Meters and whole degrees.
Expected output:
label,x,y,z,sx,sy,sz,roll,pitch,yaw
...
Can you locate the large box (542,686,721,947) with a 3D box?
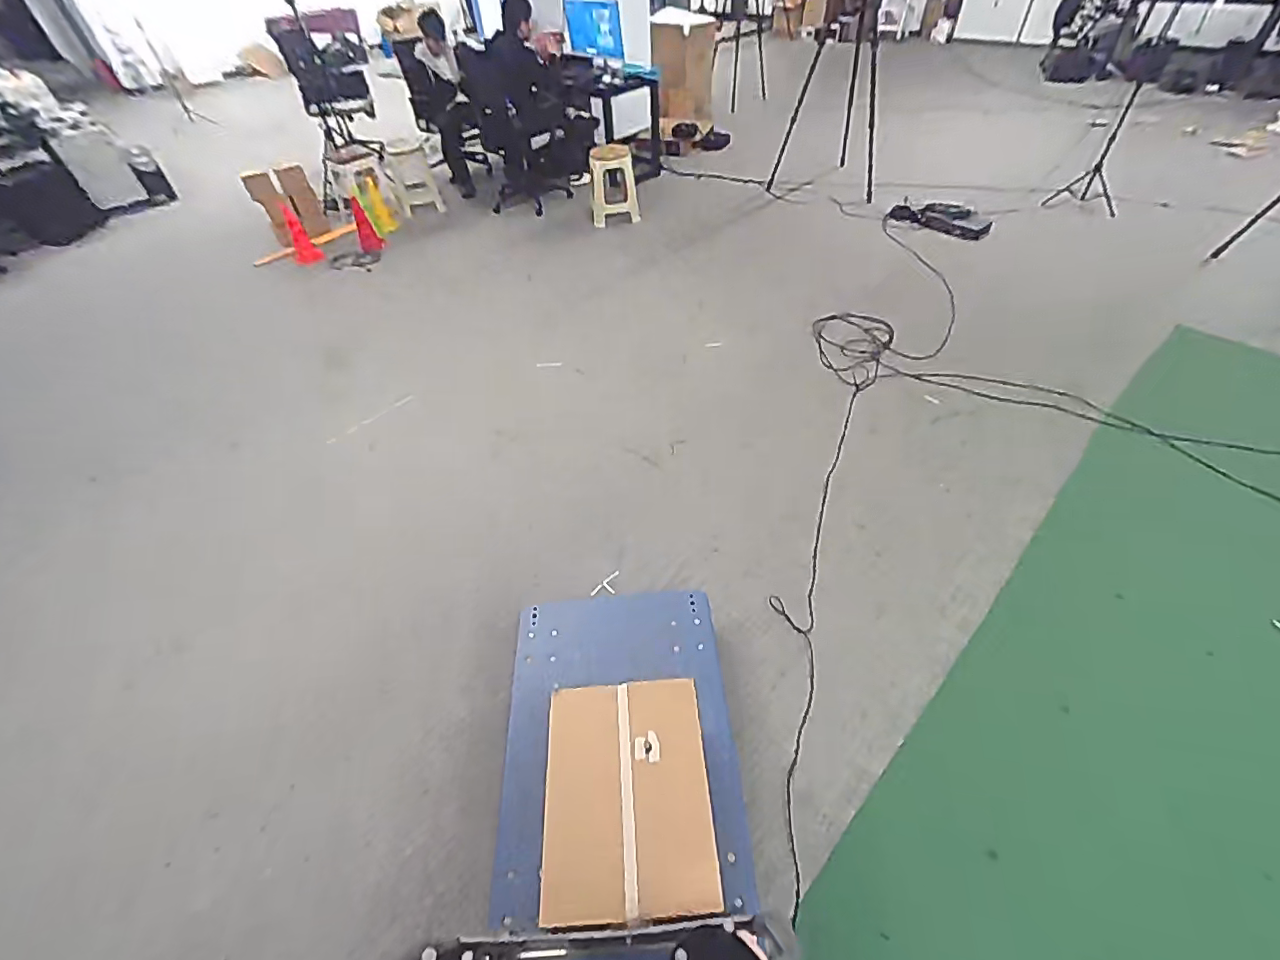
label,x,y,z,sx,sy,sz,roll,pitch,yaw
large box,-0.019,0.713,1.158,0.320,0.320,0.408,-4,46,0
